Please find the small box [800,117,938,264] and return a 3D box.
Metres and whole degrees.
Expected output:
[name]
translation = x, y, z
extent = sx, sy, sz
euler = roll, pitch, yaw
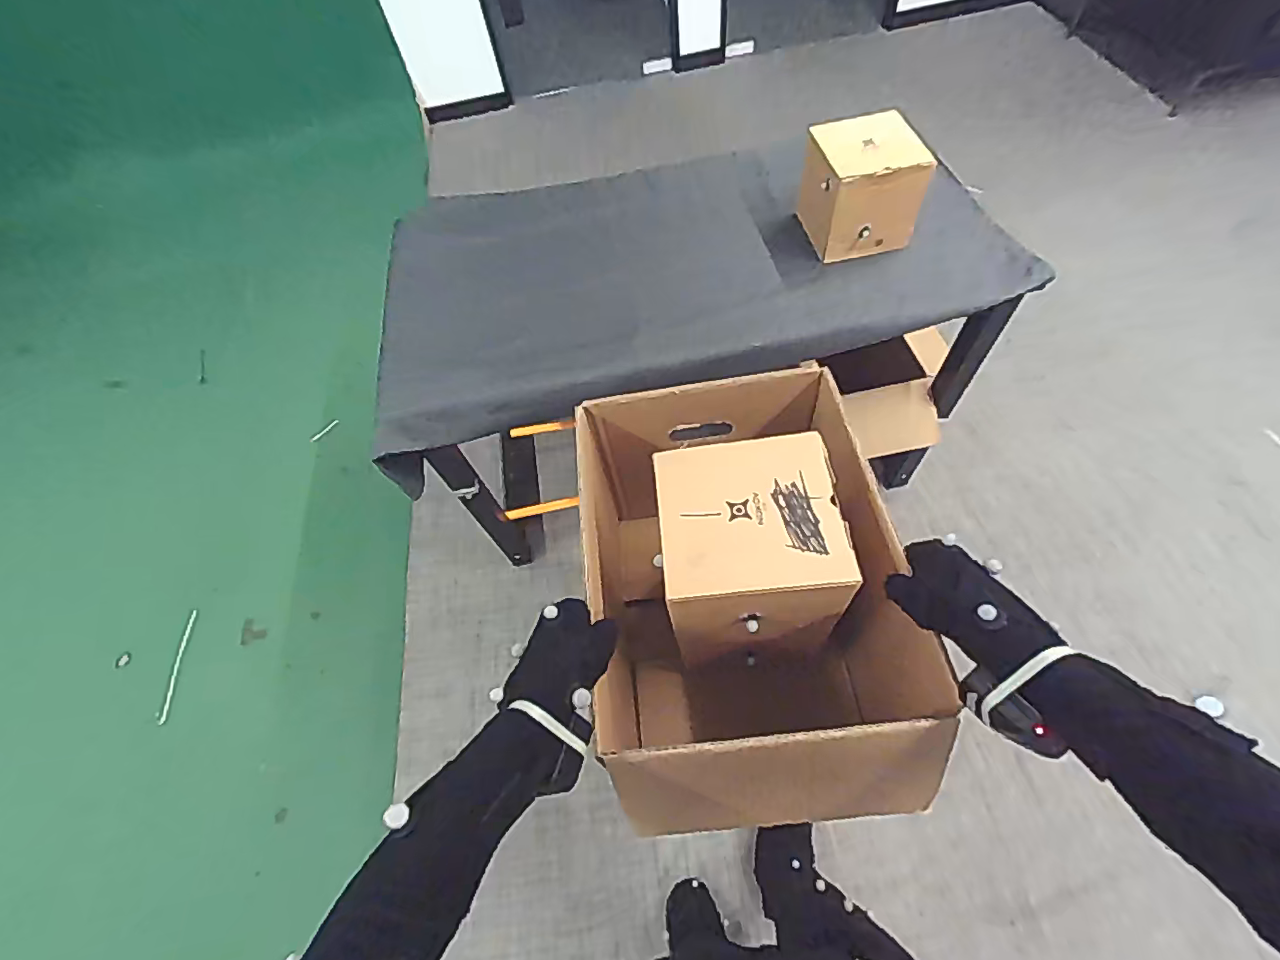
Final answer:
[small box]
translation = 0.412, -0.536, 1.011
extent = 0.168, 0.176, 0.179
euler = -11, 59, 1
